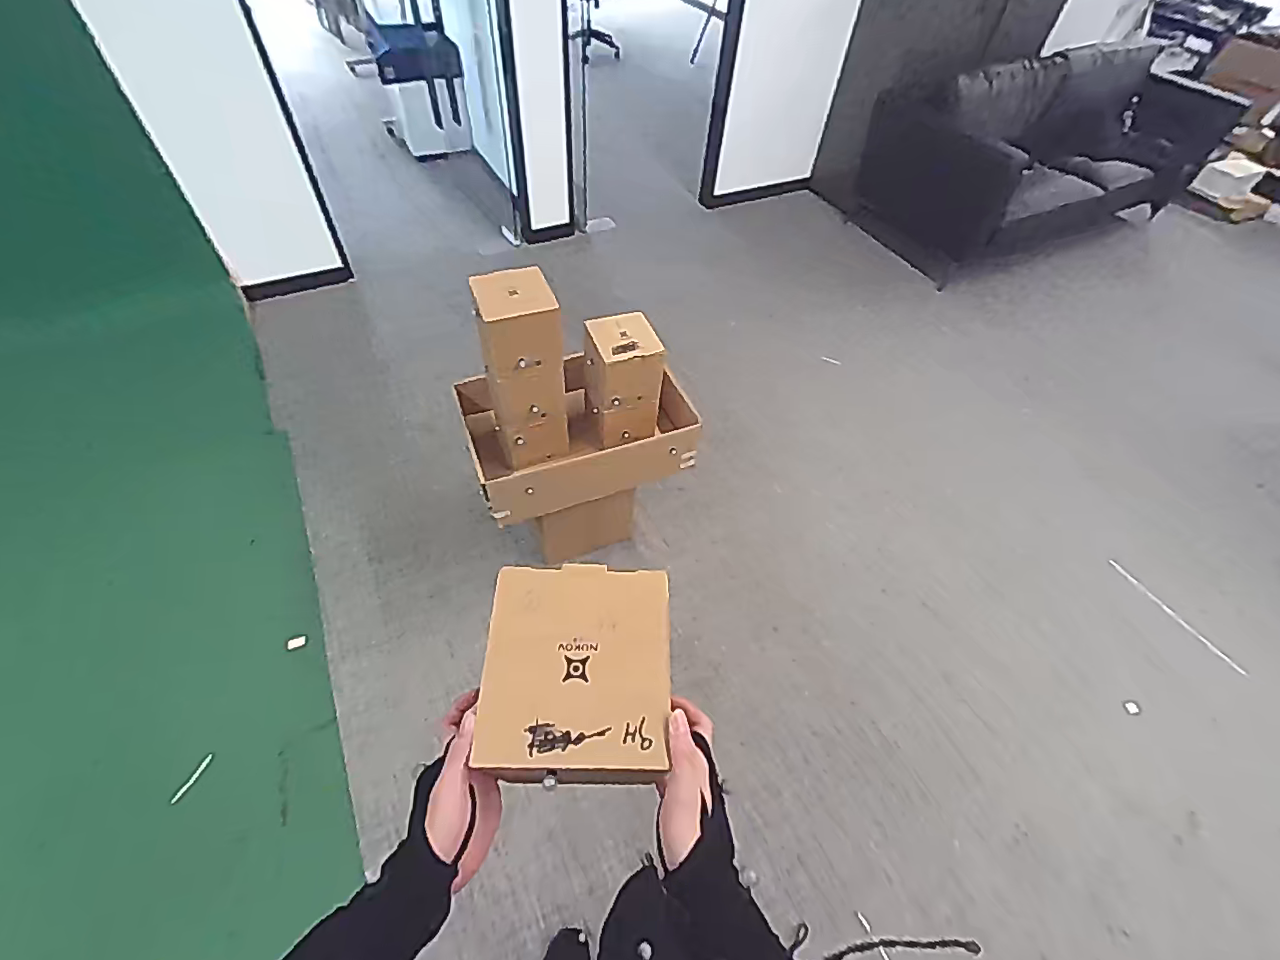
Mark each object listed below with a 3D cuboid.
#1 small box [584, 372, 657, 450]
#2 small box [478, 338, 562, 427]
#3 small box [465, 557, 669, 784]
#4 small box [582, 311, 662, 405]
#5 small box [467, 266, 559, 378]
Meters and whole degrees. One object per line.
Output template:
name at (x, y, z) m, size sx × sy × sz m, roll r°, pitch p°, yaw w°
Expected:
small box at (-0.064, -0.217, 1.575) m, size 0.168 × 0.176 × 0.179 m, roll -15°, pitch 56°, yaw -16°
small box at (-0.303, -0.264, 1.379) m, size 0.168 × 0.176 × 0.179 m, roll -17°, pitch 55°, yaw -17°
small box at (-0.061, 0.195, 0.541) m, size 0.168 × 0.176 × 0.179 m, roll 2°, pitch 56°, yaw -2°
small box at (-0.052, -0.319, 1.446) m, size 0.168 × 0.176 × 0.179 m, roll -15°, pitch 54°, yaw -16°
small box at (-0.291, -0.365, 1.252) m, size 0.168 × 0.176 × 0.179 m, roll -16°, pitch 55°, yaw -16°
